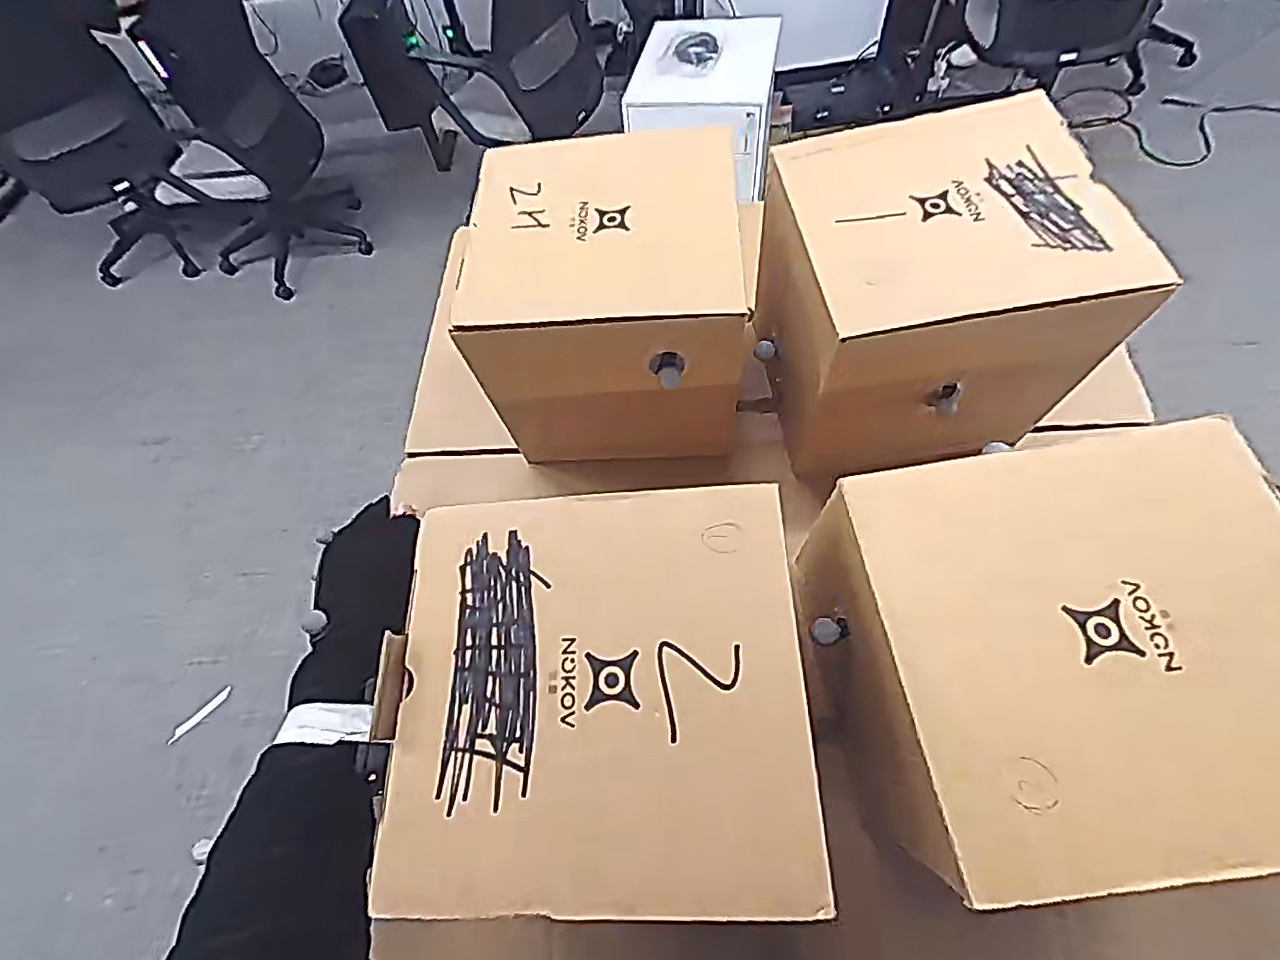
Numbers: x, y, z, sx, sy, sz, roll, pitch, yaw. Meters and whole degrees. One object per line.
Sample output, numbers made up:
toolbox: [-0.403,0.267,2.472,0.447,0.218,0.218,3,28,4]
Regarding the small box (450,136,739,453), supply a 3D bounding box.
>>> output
small box: [-0.019,-0.130,0.425,0.179,0.176,0.168,-1,64,7]
